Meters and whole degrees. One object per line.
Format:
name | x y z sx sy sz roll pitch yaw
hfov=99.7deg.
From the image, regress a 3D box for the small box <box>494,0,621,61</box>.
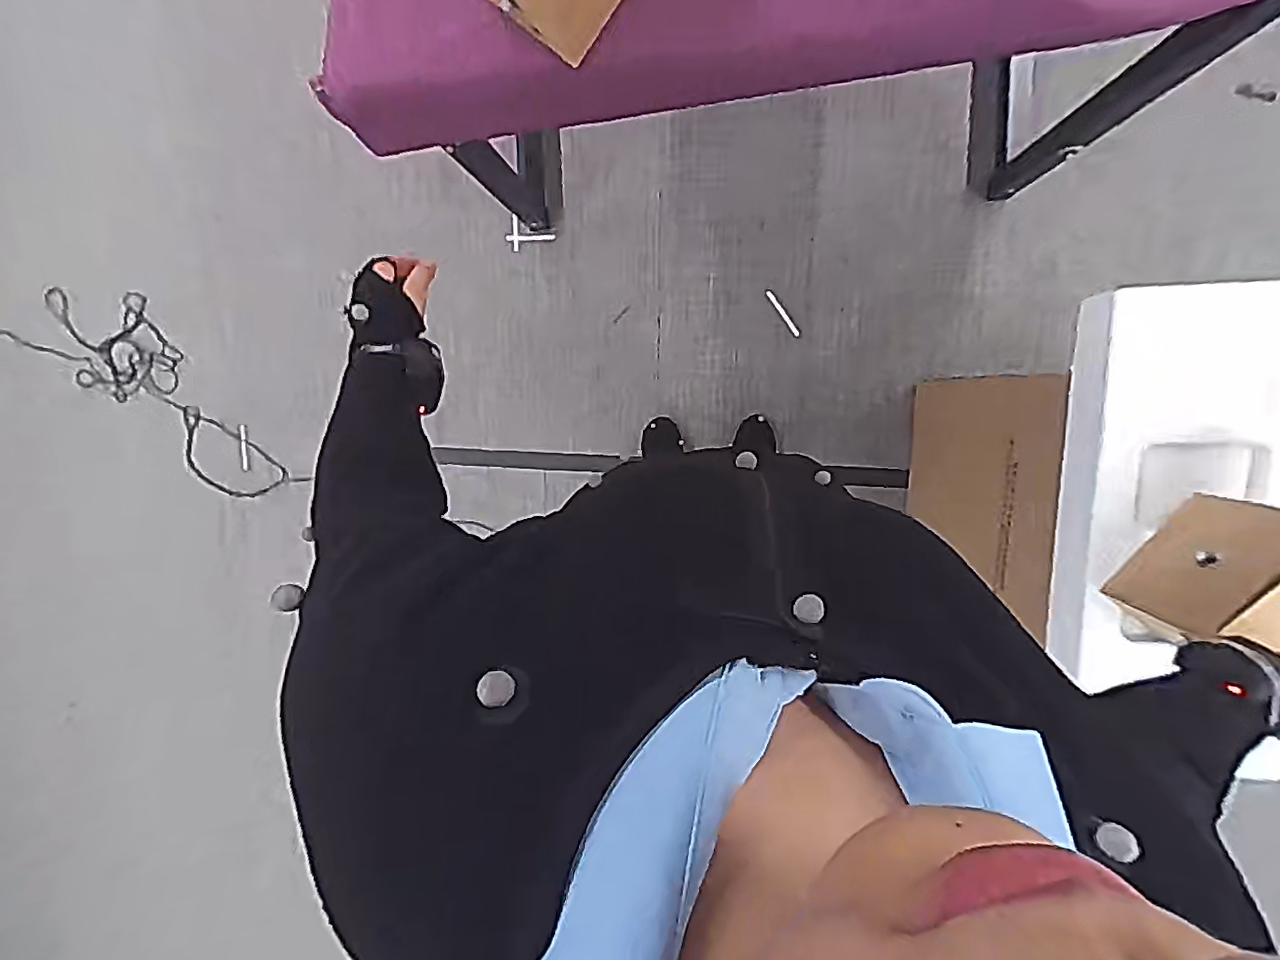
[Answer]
small box | -0.100 -0.638 0.601 0.168 0.176 0.179 40 100 2
